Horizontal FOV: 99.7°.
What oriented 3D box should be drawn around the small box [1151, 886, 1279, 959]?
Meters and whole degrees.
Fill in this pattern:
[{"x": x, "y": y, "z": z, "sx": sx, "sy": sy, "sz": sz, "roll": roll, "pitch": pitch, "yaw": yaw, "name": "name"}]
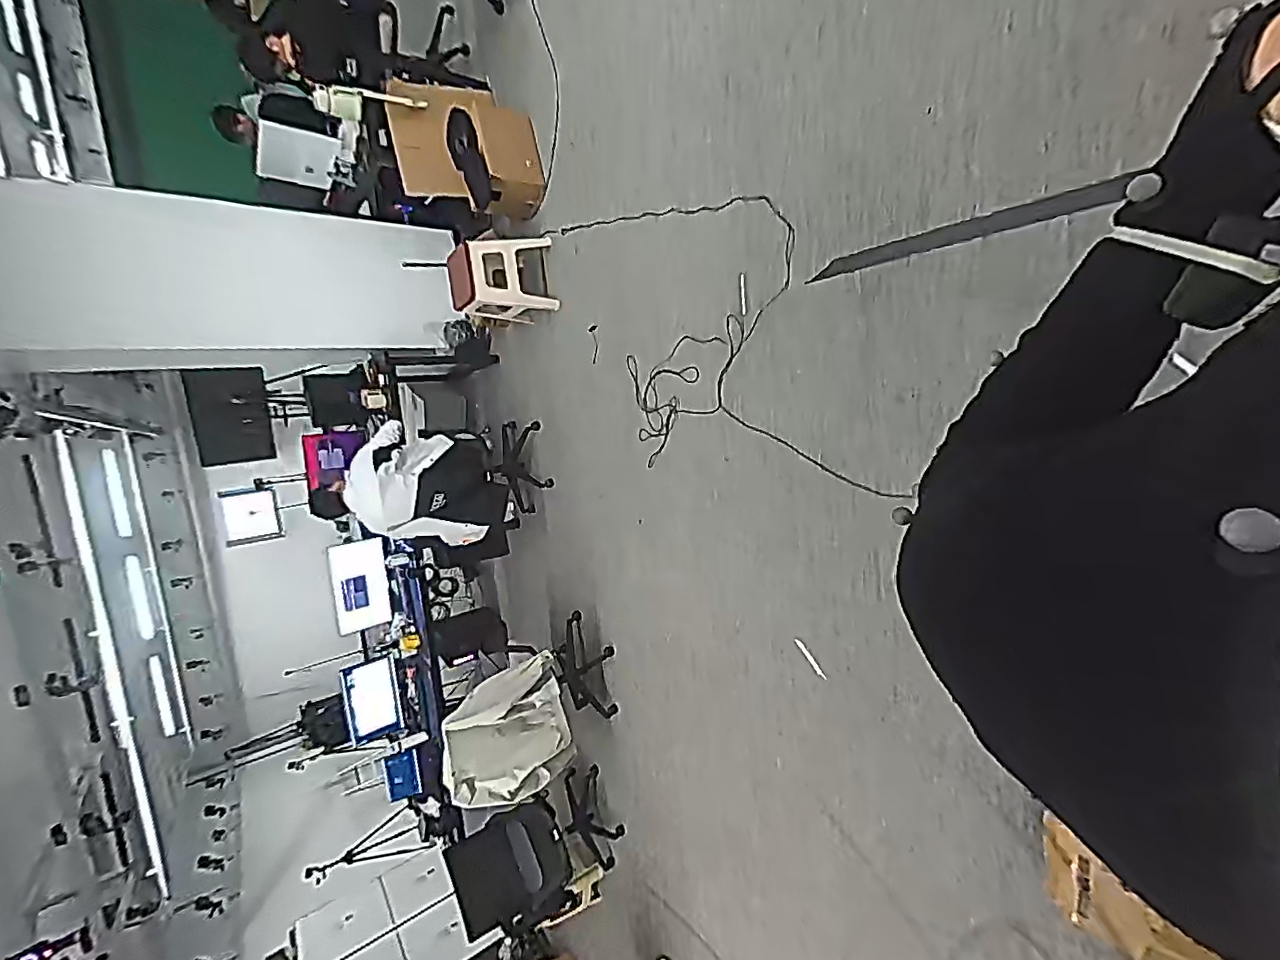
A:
[{"x": 1.107, "y": 0.950, "z": 1.039, "sx": 0.168, "sy": 0.176, "sz": 0.179, "roll": 11, "pitch": 108, "yaw": 52, "name": "small box"}]
